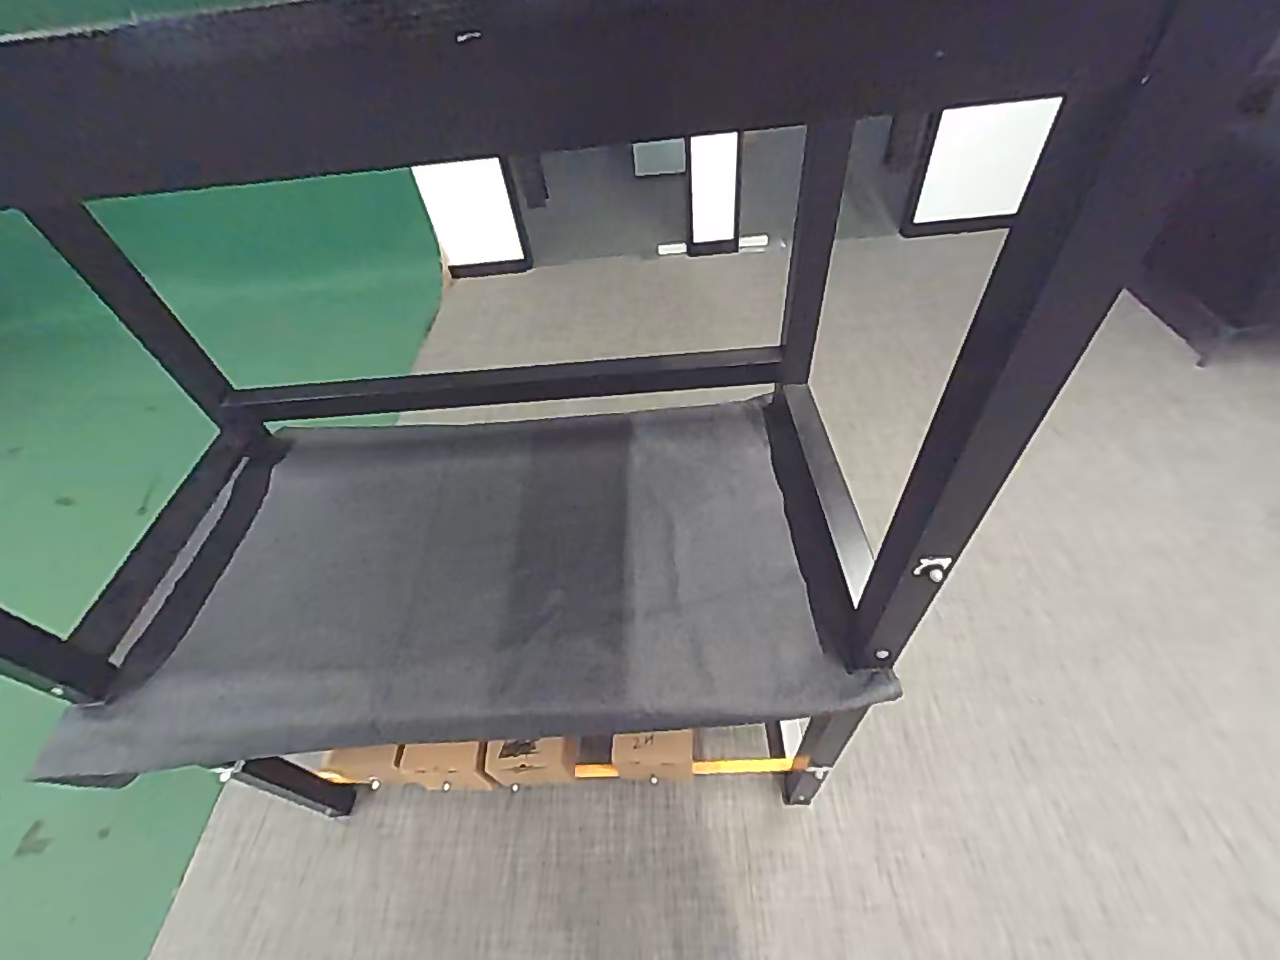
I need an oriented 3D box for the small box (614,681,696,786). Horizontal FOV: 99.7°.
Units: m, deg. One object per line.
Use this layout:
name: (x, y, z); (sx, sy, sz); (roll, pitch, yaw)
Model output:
small box: (0.040, 0.581, 1.237); (0.168, 0.176, 0.179); (-1, 50, 8)
